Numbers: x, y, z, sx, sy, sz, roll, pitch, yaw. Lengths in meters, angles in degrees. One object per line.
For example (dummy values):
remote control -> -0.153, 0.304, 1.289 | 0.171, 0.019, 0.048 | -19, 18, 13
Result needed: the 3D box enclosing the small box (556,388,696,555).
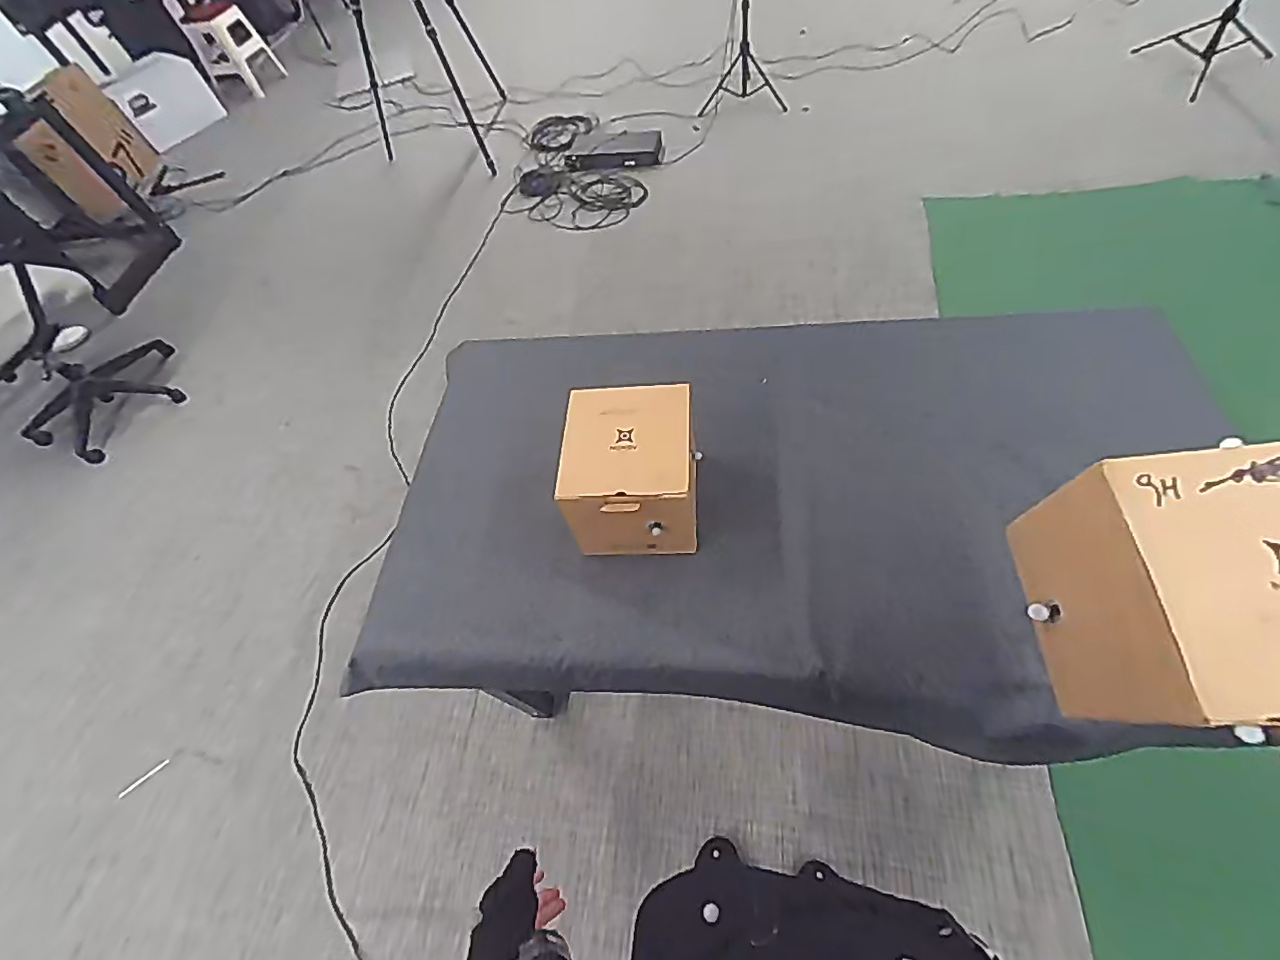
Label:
small box -> -0.007, -0.004, 0.755 | 0.168, 0.176, 0.179 | -2, 56, 7
